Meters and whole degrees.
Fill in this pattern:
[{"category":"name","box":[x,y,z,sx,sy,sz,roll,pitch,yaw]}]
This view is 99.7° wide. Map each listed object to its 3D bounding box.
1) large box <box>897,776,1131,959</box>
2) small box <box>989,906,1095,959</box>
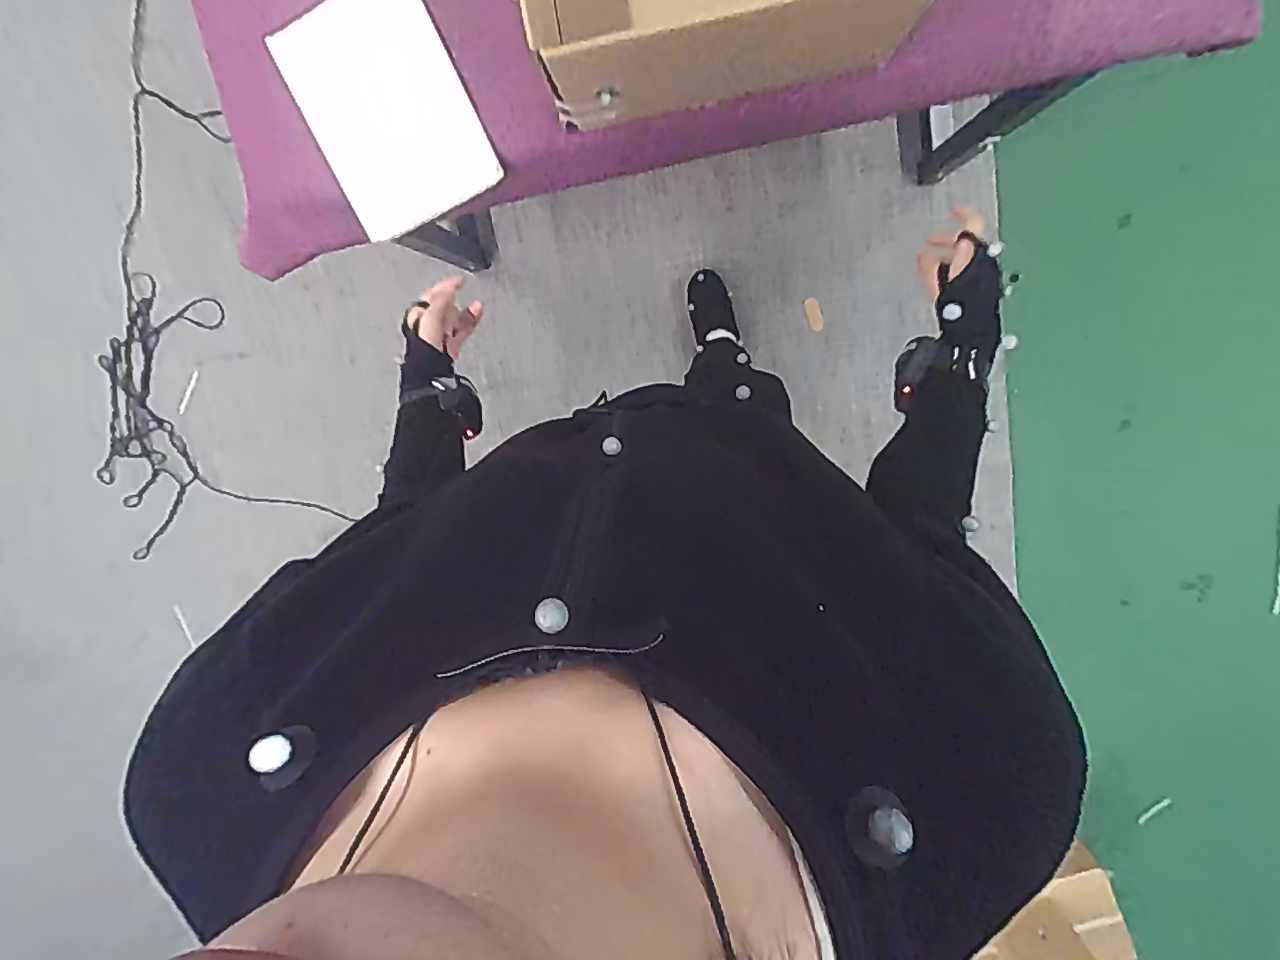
[{"category":"large box","box":[1.030,1.134,1.539,0.408,0.320,0.320,-24,101,8]},{"category":"small box","box":[0.977,1.169,1.298,0.168,0.176,0.179,-18,100,9]}]
